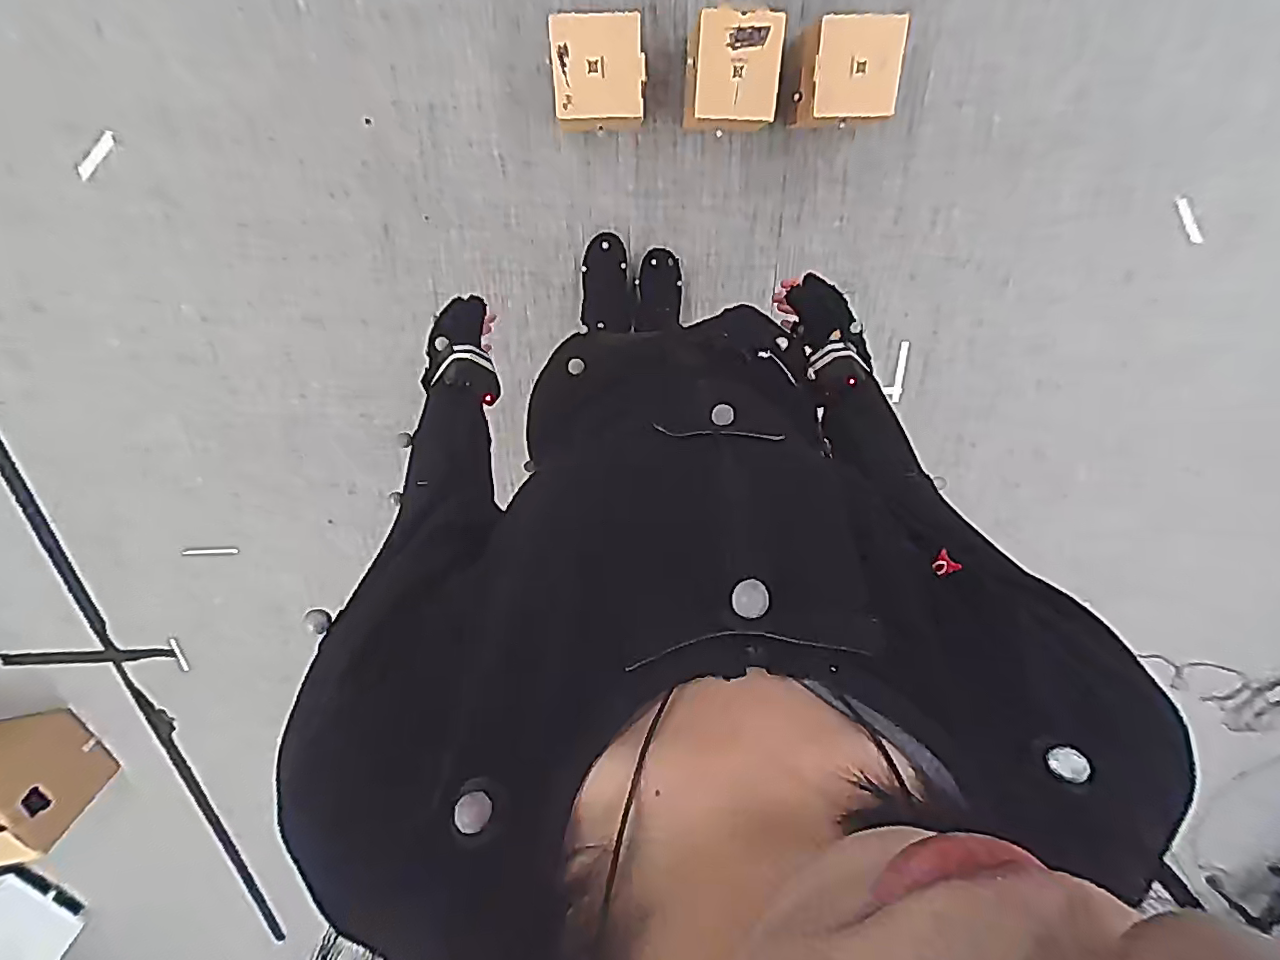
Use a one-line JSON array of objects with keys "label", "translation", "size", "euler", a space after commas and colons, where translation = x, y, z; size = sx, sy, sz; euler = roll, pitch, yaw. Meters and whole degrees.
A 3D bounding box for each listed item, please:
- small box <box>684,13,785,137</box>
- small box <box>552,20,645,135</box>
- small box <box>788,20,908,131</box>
[{"label": "small box", "translation": [0.188, -0.834, 1.129], "size": [0.168, 0.176, 0.179], "euler": [0, 117, -4]}, {"label": "small box", "translation": [-0.085, -0.820, 1.115], "size": [0.179, 0.176, 0.168], "euler": [-3, 116, -3]}, {"label": "small box", "translation": [0.426, -0.846, 1.144], "size": [0.179, 0.176, 0.168], "euler": [-4, 118, -4]}]
